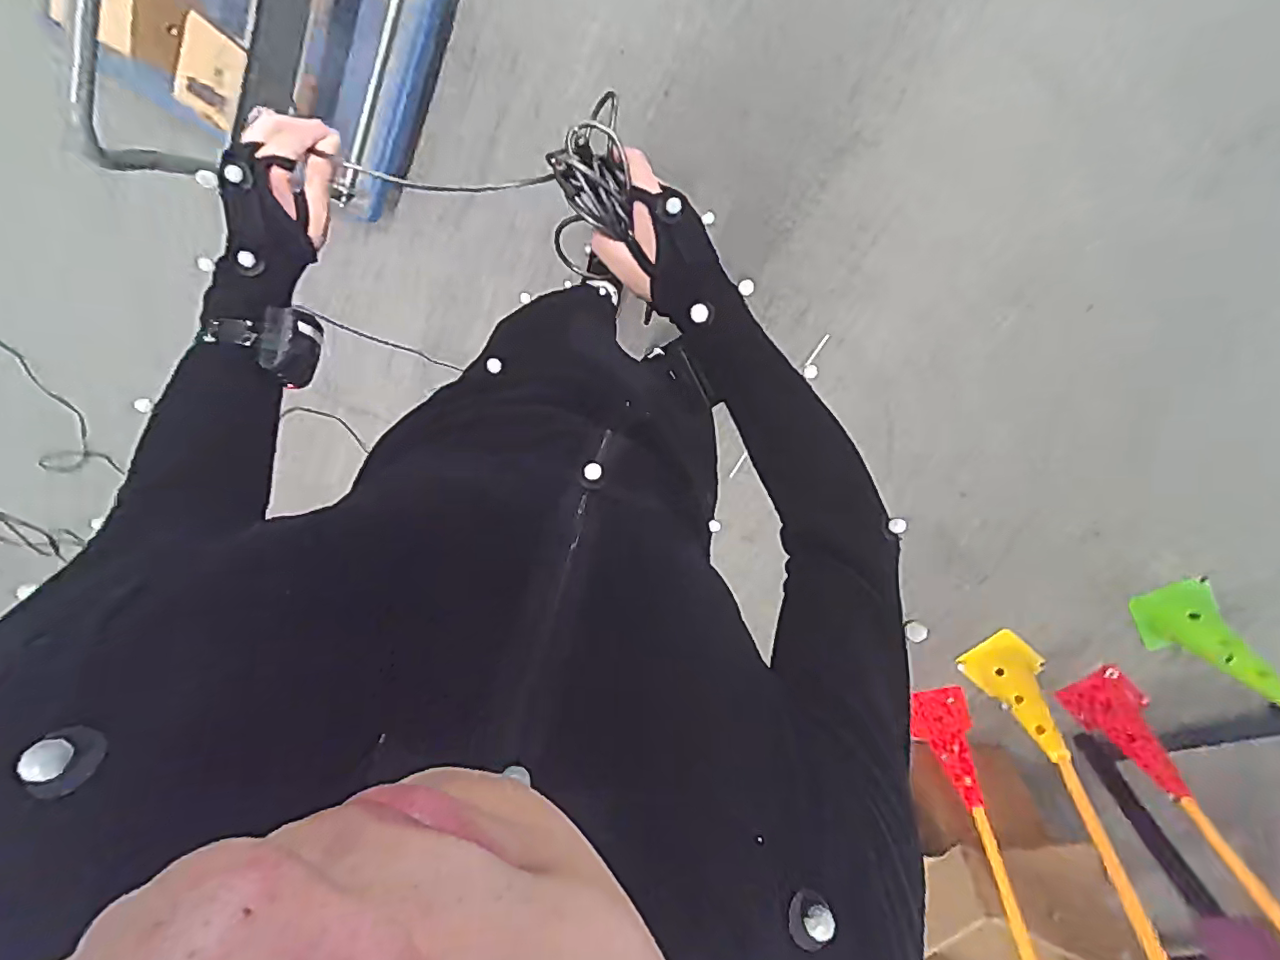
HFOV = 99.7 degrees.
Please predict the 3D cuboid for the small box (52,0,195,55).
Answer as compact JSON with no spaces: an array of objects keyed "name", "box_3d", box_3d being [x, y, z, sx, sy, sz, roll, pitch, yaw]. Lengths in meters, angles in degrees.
[{"name":"small box","box_3d":[-1.082,-1.035,1.132,0.179,0.176,0.168,26,114,-3]}]
